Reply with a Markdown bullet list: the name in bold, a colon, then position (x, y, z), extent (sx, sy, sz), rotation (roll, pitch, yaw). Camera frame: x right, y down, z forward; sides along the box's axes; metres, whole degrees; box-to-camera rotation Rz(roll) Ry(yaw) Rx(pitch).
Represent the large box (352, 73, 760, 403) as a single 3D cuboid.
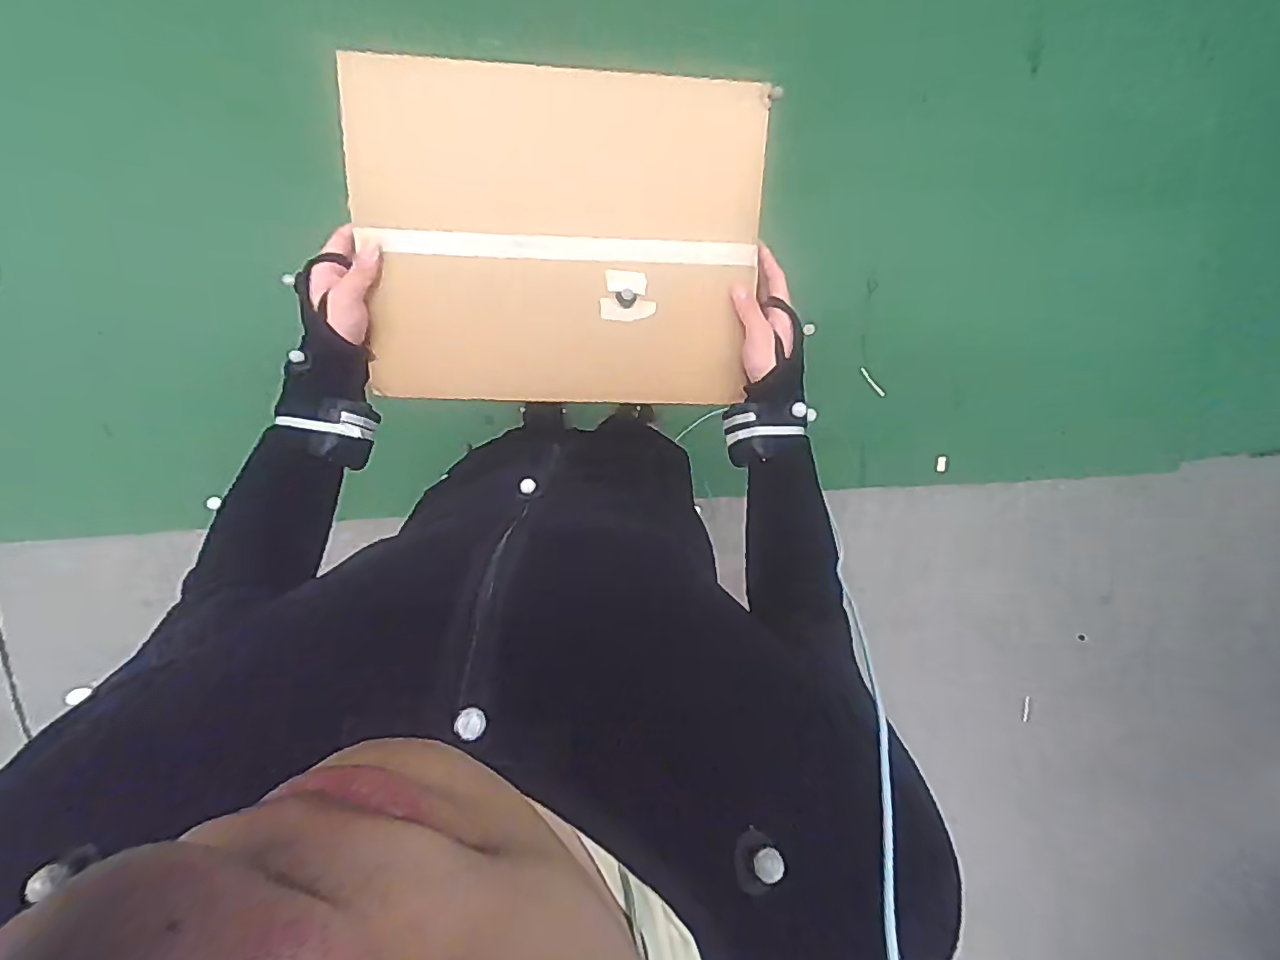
- **large box**: position (-0.093, -0.275, 0.708), extent (0.408, 0.320, 0.320), rotation (0, 106, -6)
